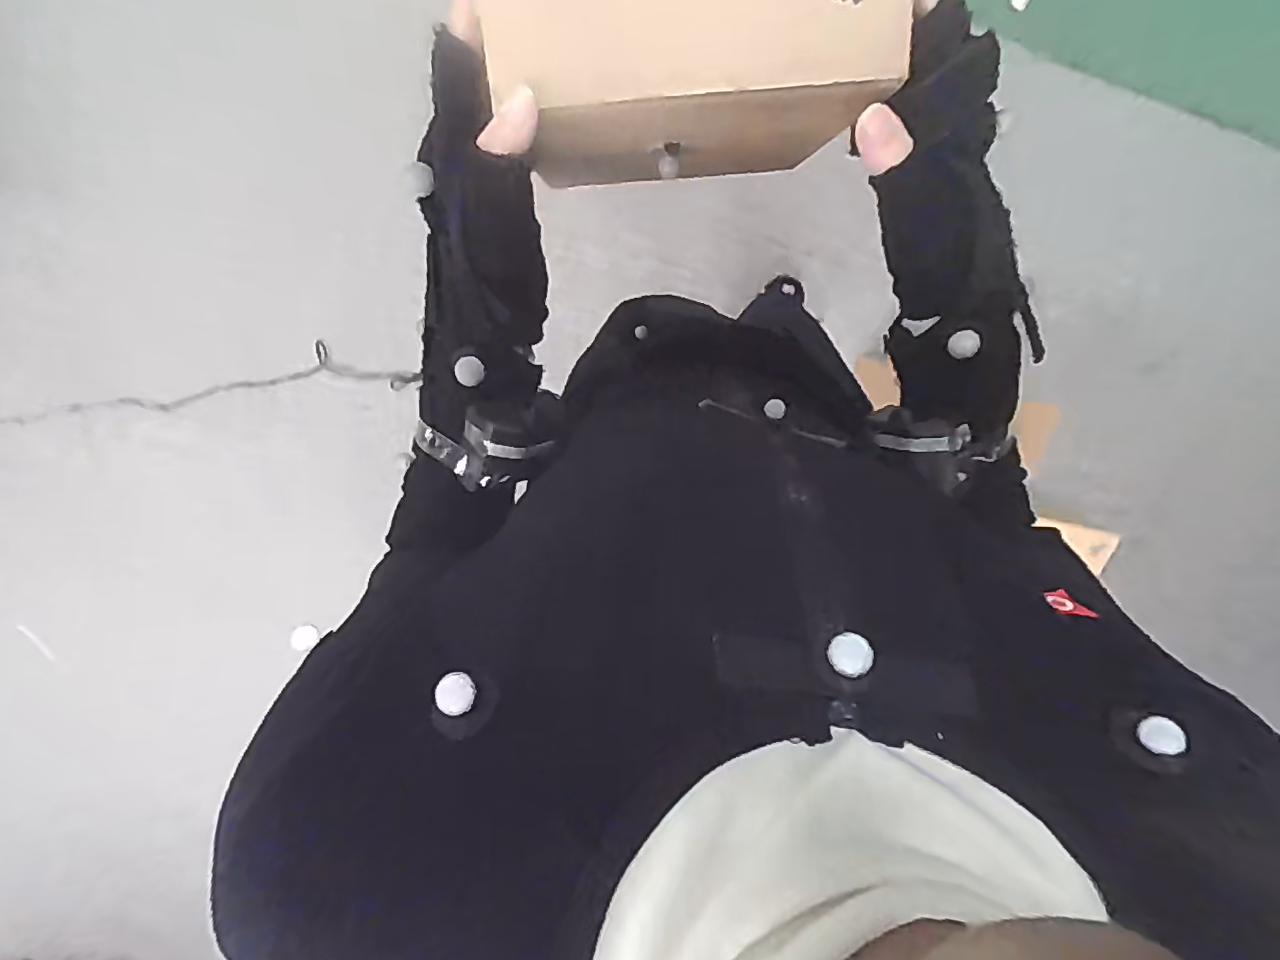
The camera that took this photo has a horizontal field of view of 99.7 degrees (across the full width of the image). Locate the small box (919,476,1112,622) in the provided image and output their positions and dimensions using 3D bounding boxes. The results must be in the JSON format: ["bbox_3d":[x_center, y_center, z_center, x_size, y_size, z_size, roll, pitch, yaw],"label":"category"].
[{"bbox_3d":[0.607,0.106,0.905,0.179,0.176,0.168,13,111,-2],"label":"small box"}]

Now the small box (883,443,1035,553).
[{"bbox_3d":[0.605,0.043,1.056,0.168,0.176,0.179,13,112,-2],"label":"small box"}]
